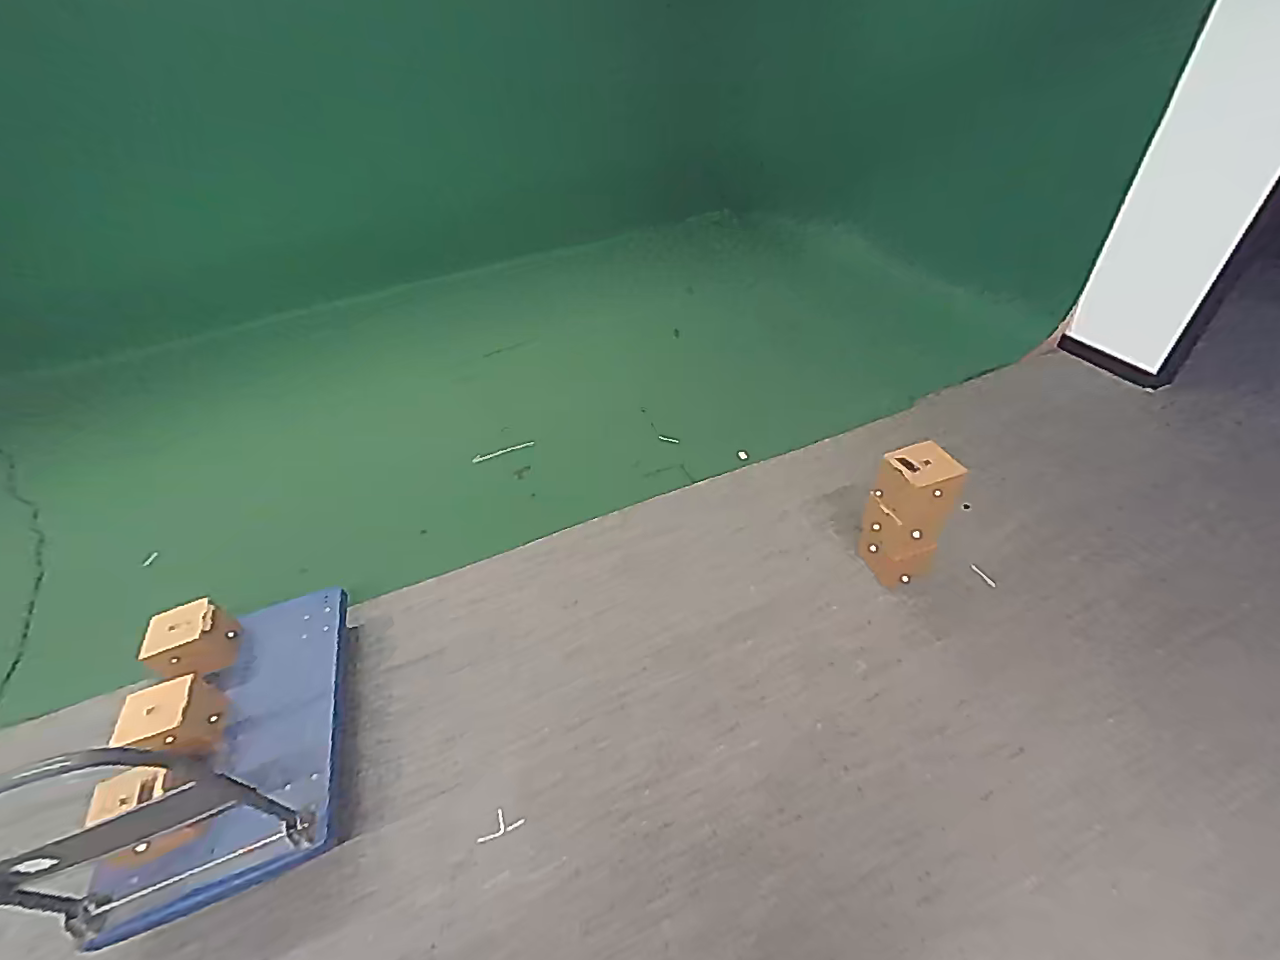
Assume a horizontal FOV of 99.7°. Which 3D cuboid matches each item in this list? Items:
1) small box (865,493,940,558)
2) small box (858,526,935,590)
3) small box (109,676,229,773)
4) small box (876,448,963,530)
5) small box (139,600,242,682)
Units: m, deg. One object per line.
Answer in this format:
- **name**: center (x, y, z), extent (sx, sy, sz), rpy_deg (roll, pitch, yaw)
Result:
- **small box**: center (0.874, 0.136, 1.806), extent (0.179, 0.176, 0.168), rpy_deg (-17, 43, -6)
- **small box**: center (0.899, 0.257, 1.913), extent (0.168, 0.176, 0.179), rpy_deg (-16, 43, -7)
- **small box**: center (-1.325, 0.697, 1.536), extent (0.179, 0.176, 0.168), rpy_deg (-17, 43, -11)
- **small box**: center (0.867, 0.032, 1.700), extent (0.179, 0.176, 0.168), rpy_deg (-16, 43, -8)
- **small box**: center (-1.428, 0.524, 1.731), extent (0.179, 0.176, 0.168), rpy_deg (-19, 45, -11)
